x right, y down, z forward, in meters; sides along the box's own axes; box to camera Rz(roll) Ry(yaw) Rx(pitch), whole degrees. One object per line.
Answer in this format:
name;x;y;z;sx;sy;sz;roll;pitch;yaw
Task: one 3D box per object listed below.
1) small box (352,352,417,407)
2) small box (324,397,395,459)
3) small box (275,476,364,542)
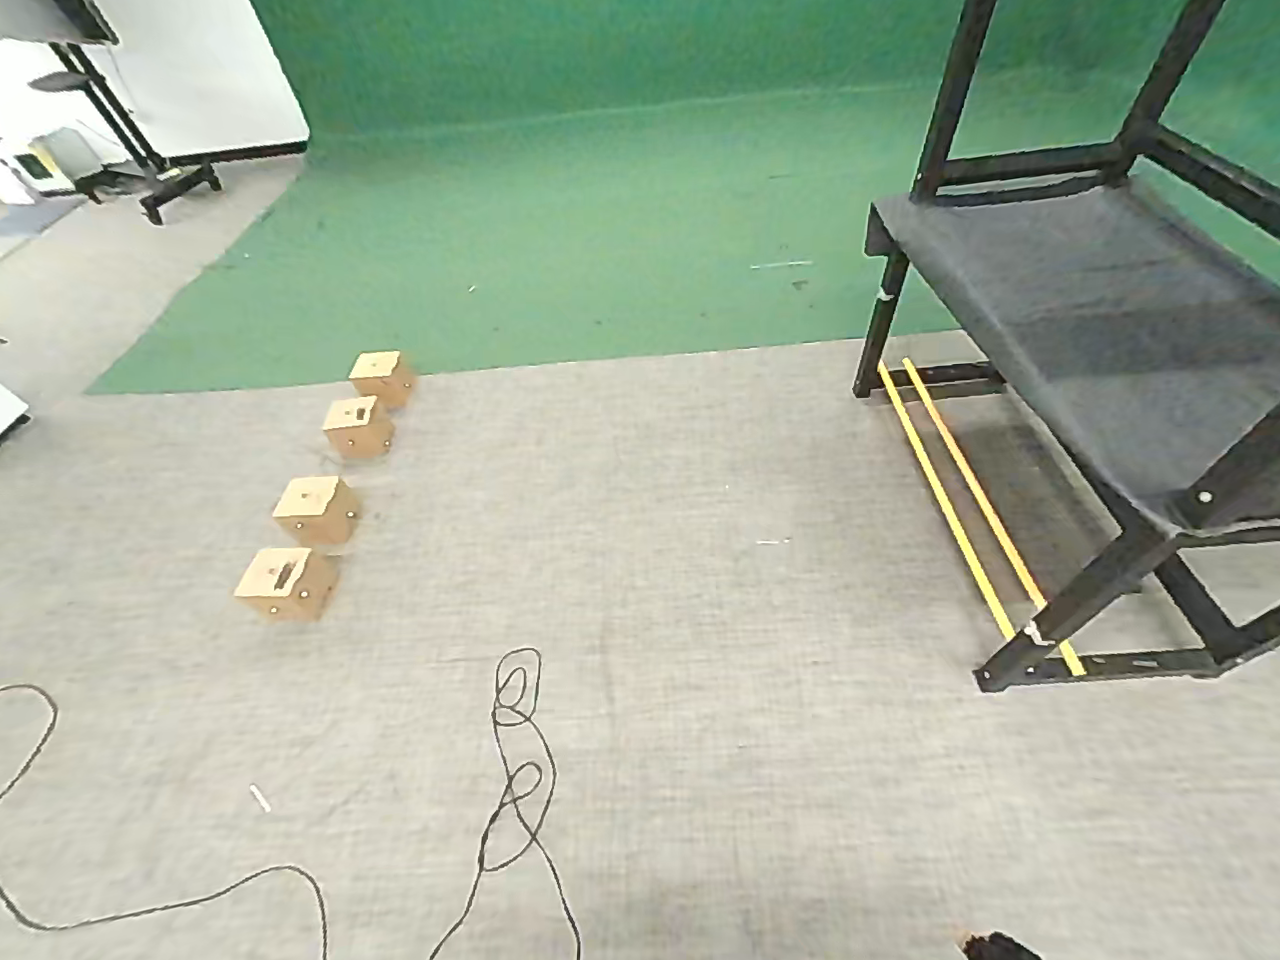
small box;-1.087;-0.424;2.310;0.179;0.176;0.168;-4;50;3
small box;-1.089;-0.202;2.119;0.179;0.176;0.168;-7;49;1
small box;-1.093;0.103;1.857;0.179;0.176;0.168;-2;51;3
